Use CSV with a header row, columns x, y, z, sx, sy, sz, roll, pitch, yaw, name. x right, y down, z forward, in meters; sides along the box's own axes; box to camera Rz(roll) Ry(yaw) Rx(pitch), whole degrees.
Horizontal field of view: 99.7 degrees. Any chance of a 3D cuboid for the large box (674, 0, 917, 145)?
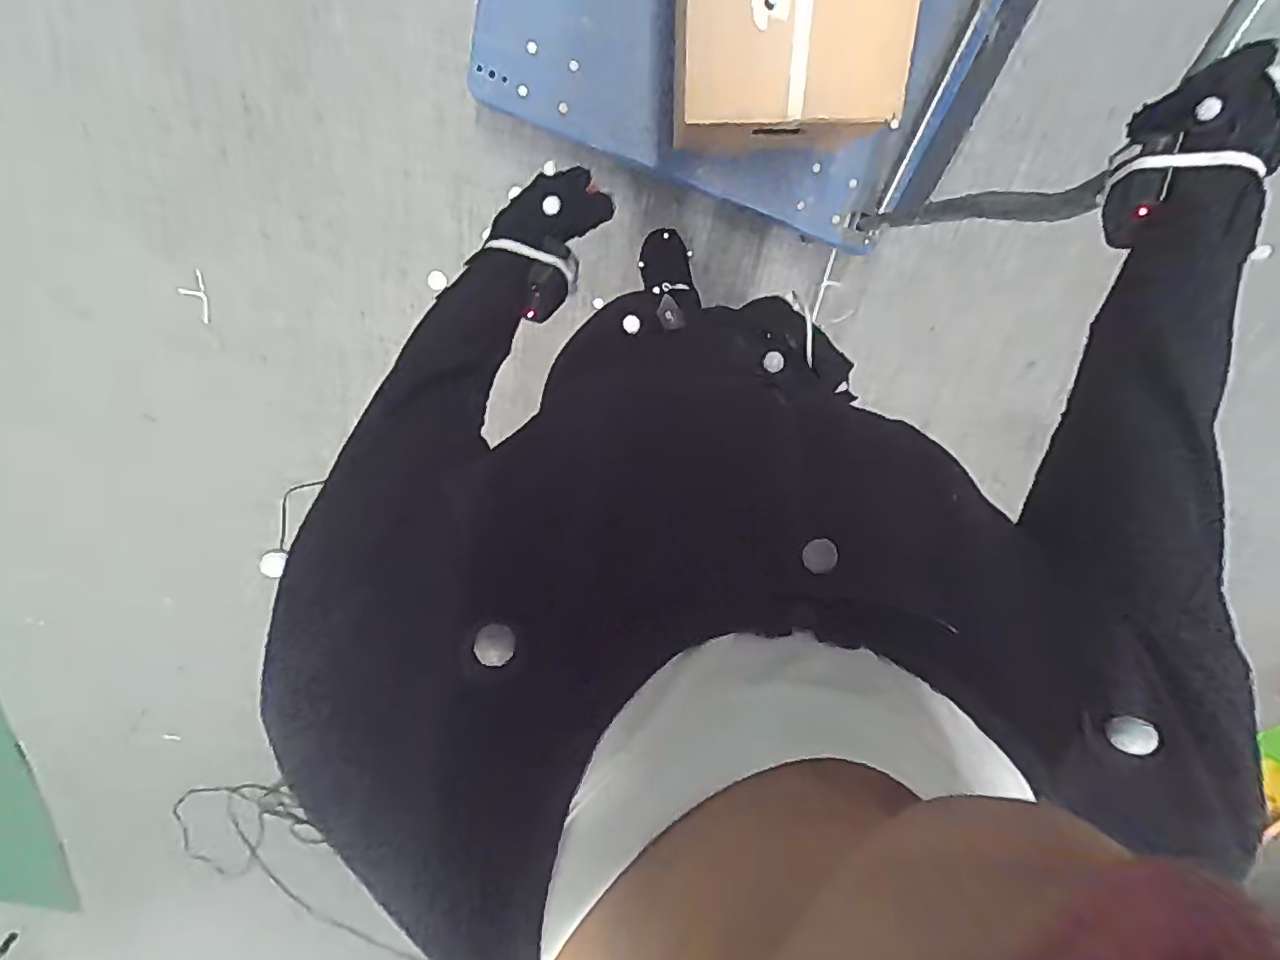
x,y,z,sx,sy,sz,roll,pitch,yaw,name
0.216,-0.764,0.828,0.320,0.320,0.408,0,116,1,large box
